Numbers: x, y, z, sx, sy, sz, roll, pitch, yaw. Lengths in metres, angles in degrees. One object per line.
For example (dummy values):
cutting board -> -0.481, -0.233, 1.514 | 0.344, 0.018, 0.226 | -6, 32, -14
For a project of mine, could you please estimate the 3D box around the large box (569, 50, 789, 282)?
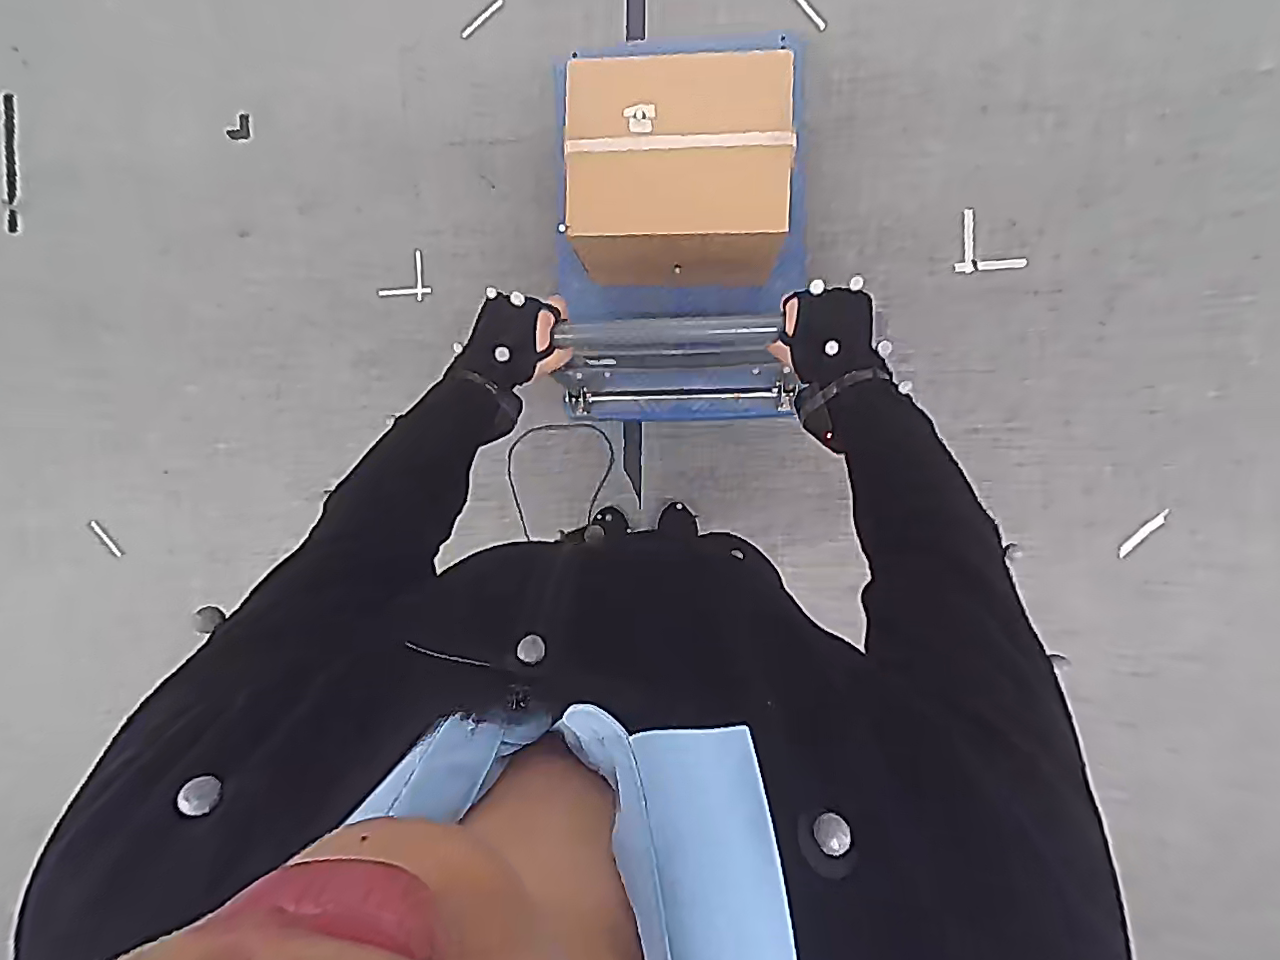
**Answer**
large box -> 0.083, -0.616, 1.127 | 0.408, 0.320, 0.320 | 1, 93, 6
